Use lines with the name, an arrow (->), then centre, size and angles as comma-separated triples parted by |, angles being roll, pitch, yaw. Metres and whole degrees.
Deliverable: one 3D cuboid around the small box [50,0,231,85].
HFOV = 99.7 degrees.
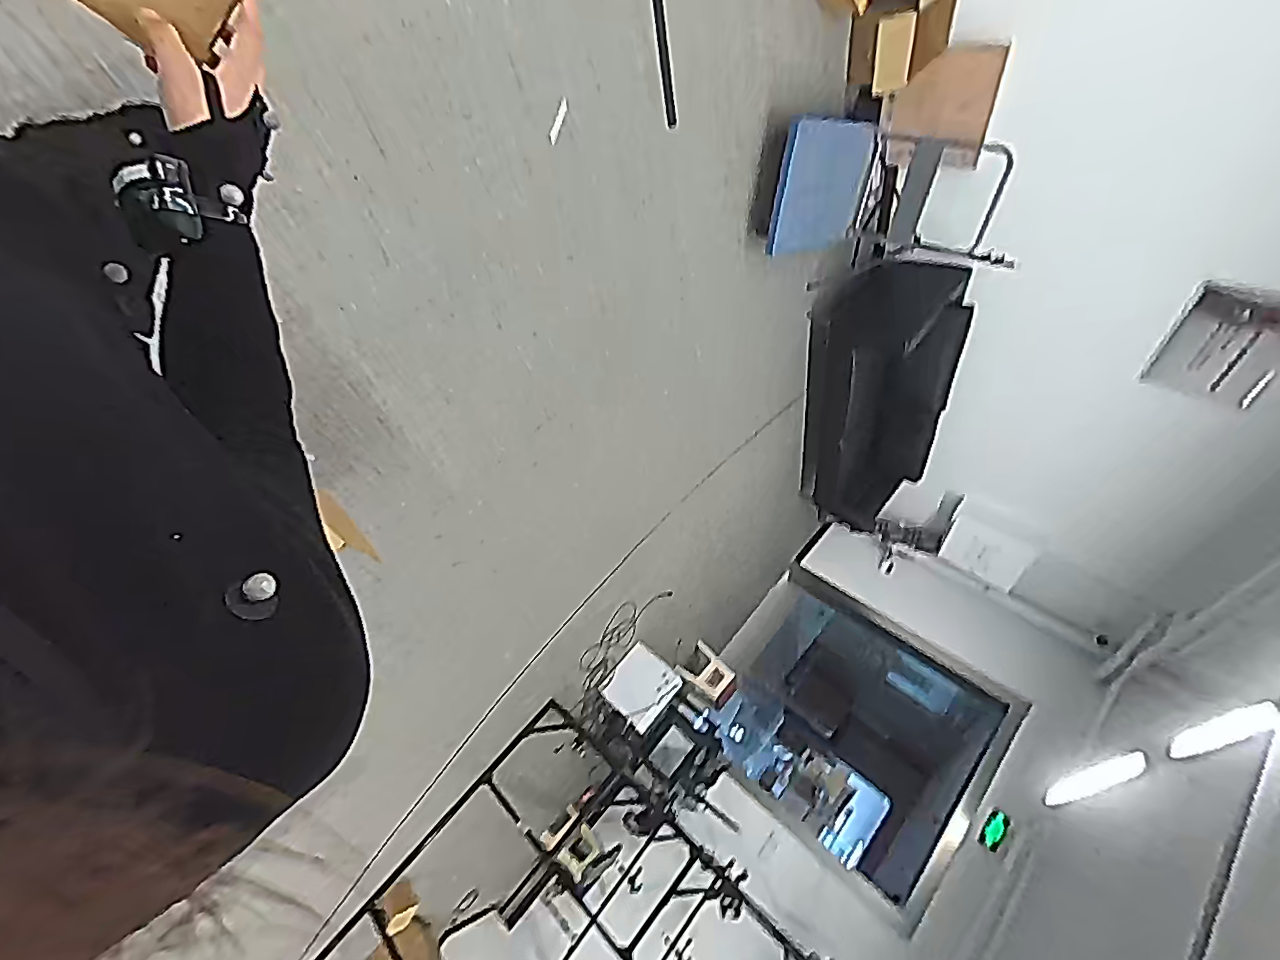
small box -> -0.428, -0.465, 0.413 | 0.168, 0.176, 0.179 | -48, 150, 13
